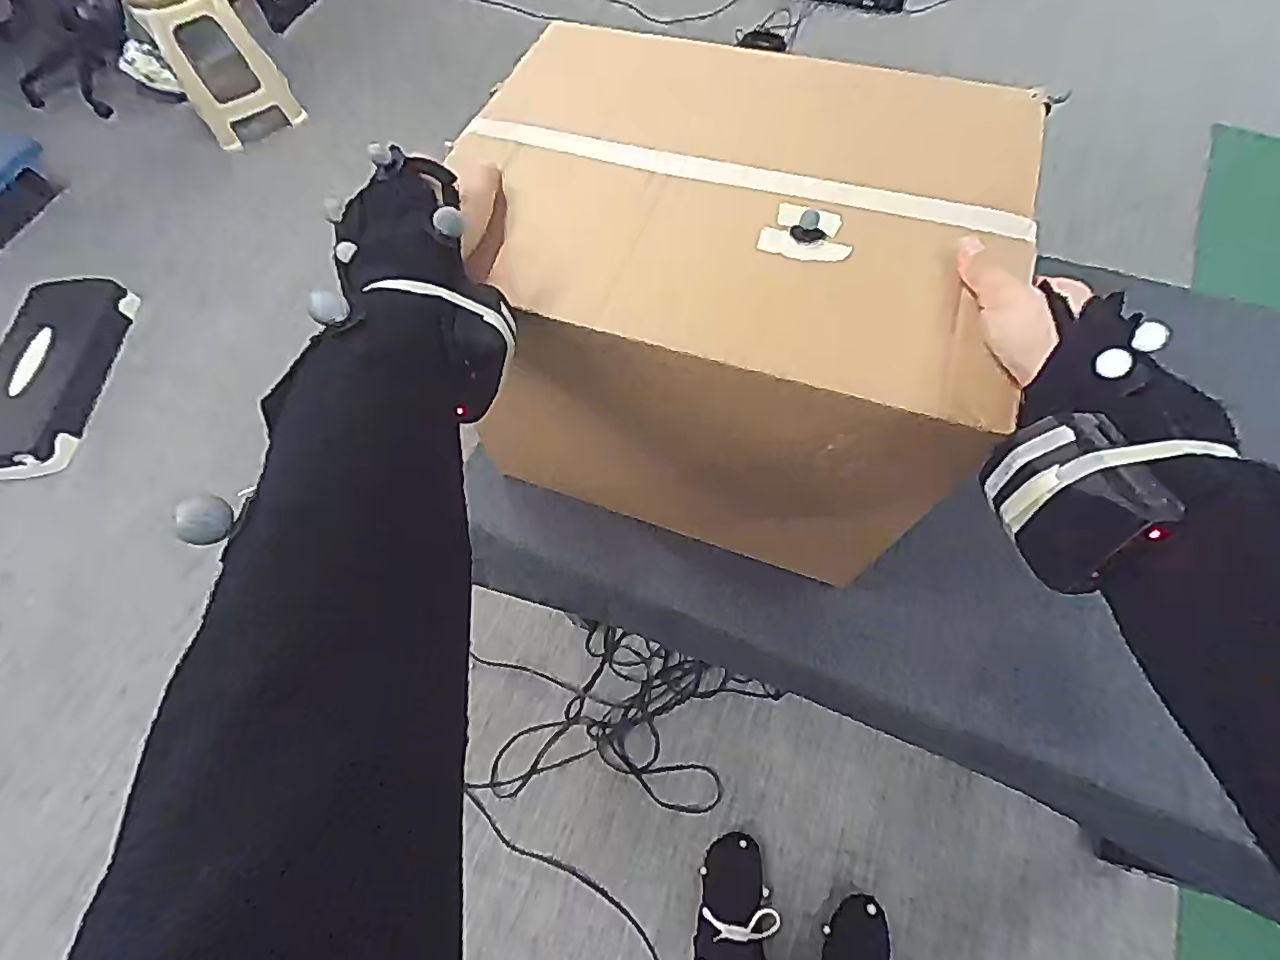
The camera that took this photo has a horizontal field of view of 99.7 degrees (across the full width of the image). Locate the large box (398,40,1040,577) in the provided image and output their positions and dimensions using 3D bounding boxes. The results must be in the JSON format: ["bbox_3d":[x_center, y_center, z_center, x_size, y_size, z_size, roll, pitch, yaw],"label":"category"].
[{"bbox_3d":[0.074,-0.144,0.523,0.408,0.320,0.320,18,67,10],"label":"large box"}]
